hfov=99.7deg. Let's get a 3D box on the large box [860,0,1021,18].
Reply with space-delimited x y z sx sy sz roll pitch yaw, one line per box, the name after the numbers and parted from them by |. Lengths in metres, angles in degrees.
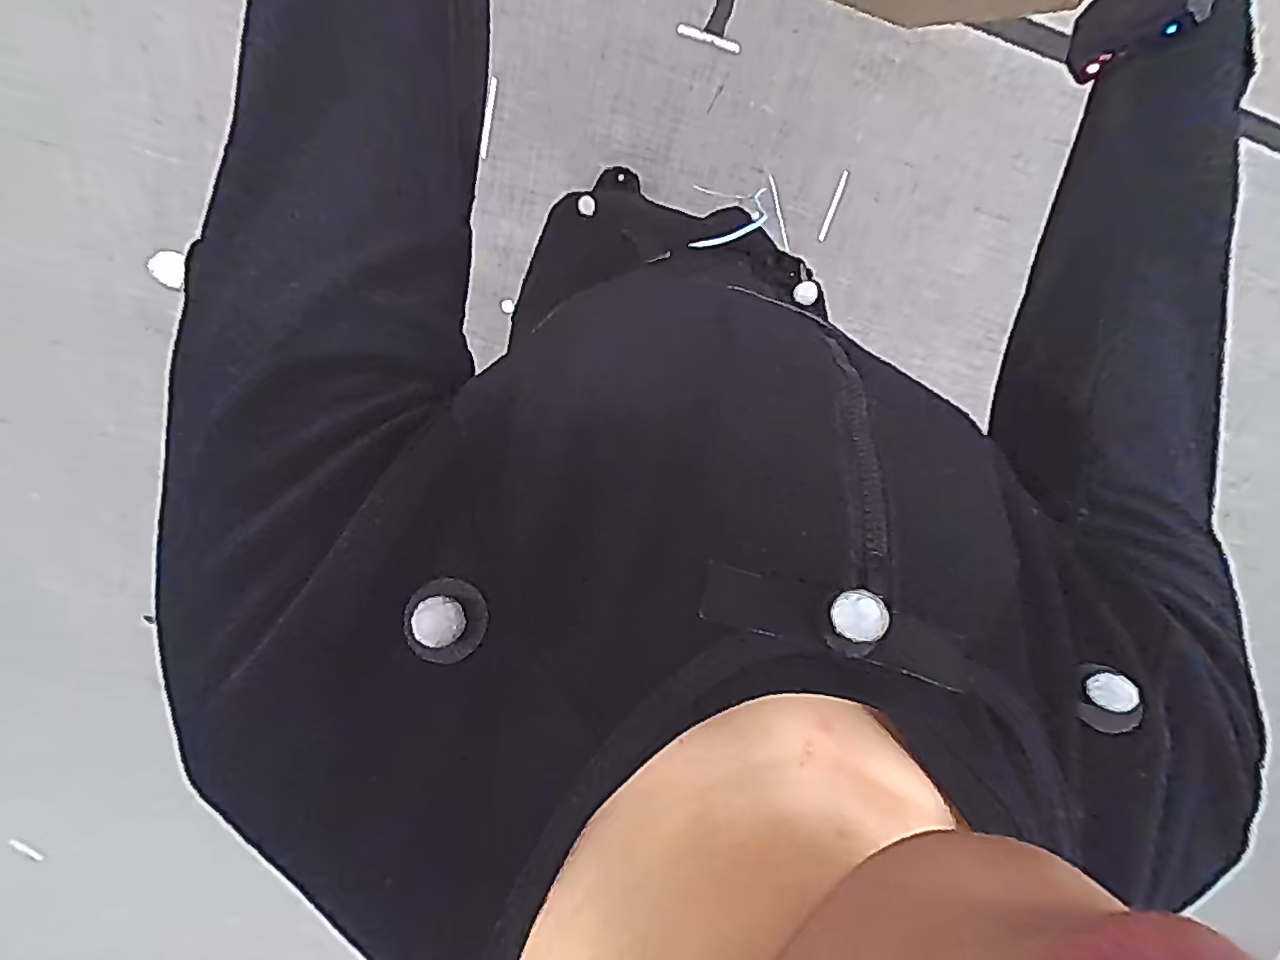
0.154 -0.580 0.367 0.408 0.320 0.320 13 128 -10 | large box
